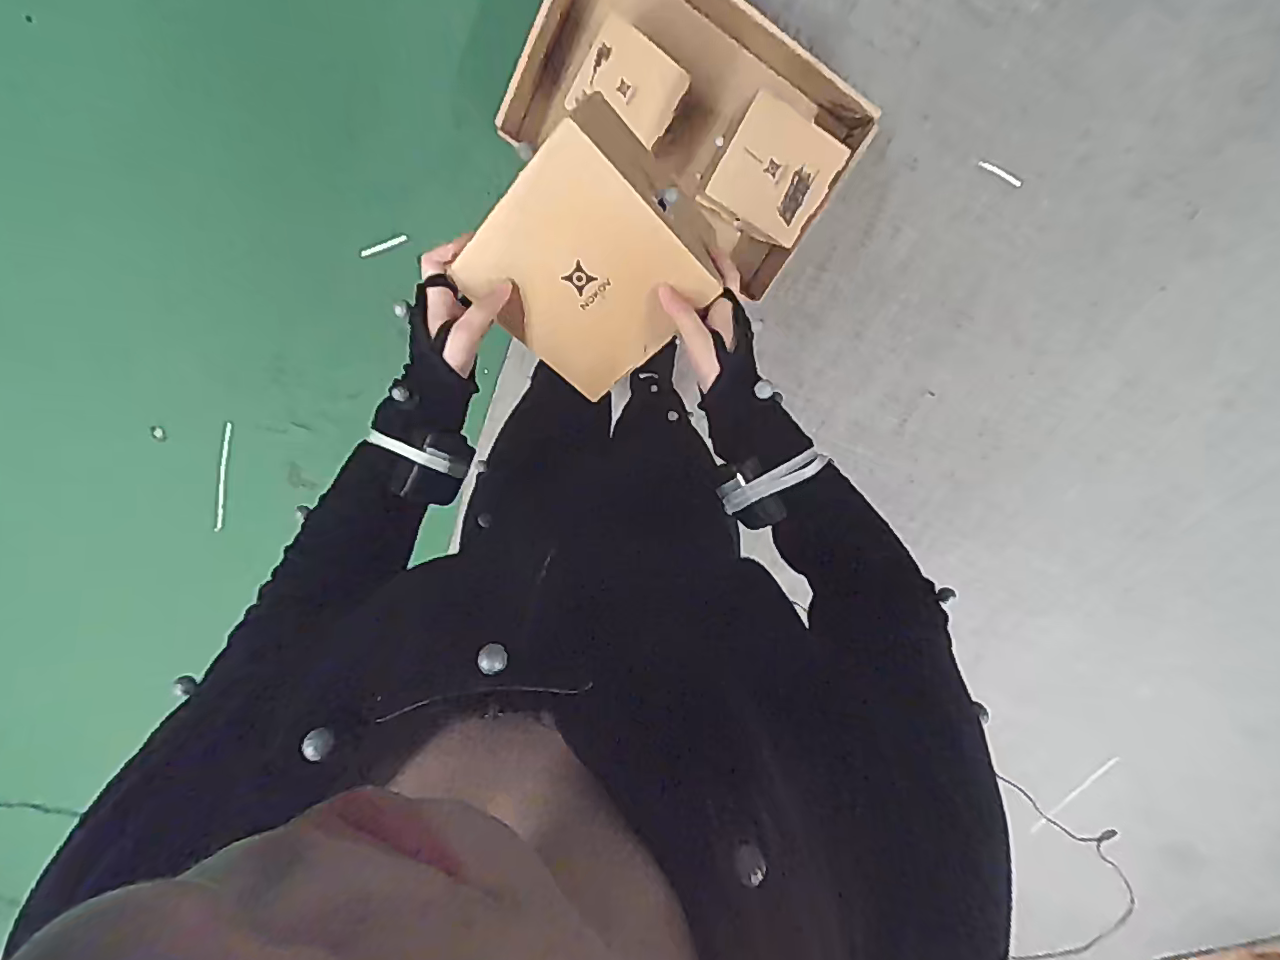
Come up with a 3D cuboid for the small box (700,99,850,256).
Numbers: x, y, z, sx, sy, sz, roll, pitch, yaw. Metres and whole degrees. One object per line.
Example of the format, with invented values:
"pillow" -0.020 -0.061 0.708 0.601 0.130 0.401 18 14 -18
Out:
"small box" 0.222 -0.517 0.939 0.179 0.176 0.168 28 114 -11
